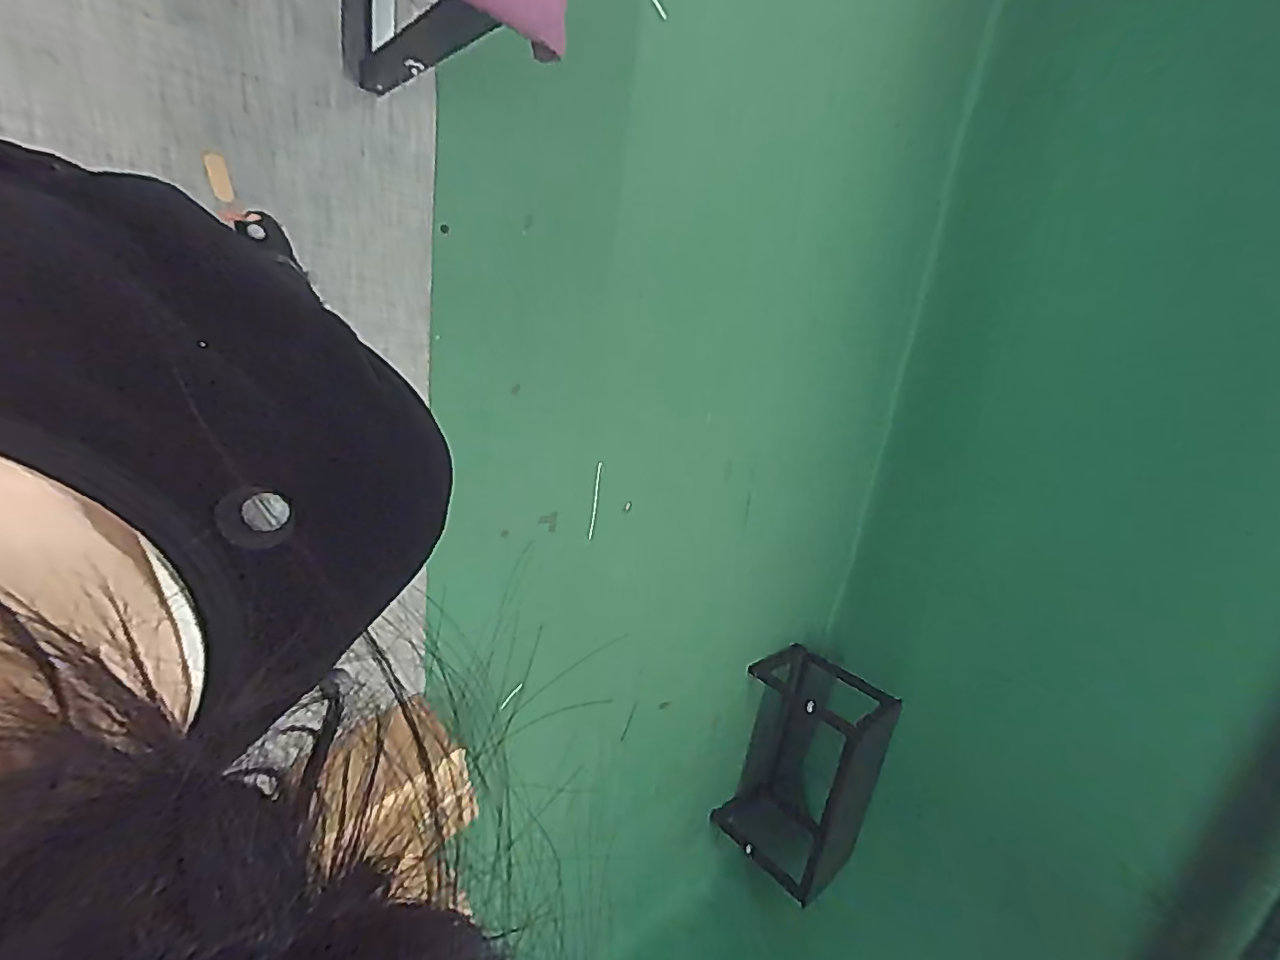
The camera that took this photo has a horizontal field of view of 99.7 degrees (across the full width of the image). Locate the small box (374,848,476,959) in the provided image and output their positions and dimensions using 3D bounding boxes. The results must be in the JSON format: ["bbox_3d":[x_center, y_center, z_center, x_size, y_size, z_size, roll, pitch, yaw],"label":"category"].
[{"bbox_3d":[-0.534,1.071,1.331,0.179,0.176,0.168,-24,122,-36],"label":"small box"}]

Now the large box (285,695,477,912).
[{"bbox_3d":[-0.775,0.952,1.643,0.408,0.320,0.320,-25,124,-37],"label":"large box"}]

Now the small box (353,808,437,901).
[{"bbox_3d":[-0.642,1.022,1.445,0.168,0.176,0.179,-23,121,-36],"label":"small box"}]
